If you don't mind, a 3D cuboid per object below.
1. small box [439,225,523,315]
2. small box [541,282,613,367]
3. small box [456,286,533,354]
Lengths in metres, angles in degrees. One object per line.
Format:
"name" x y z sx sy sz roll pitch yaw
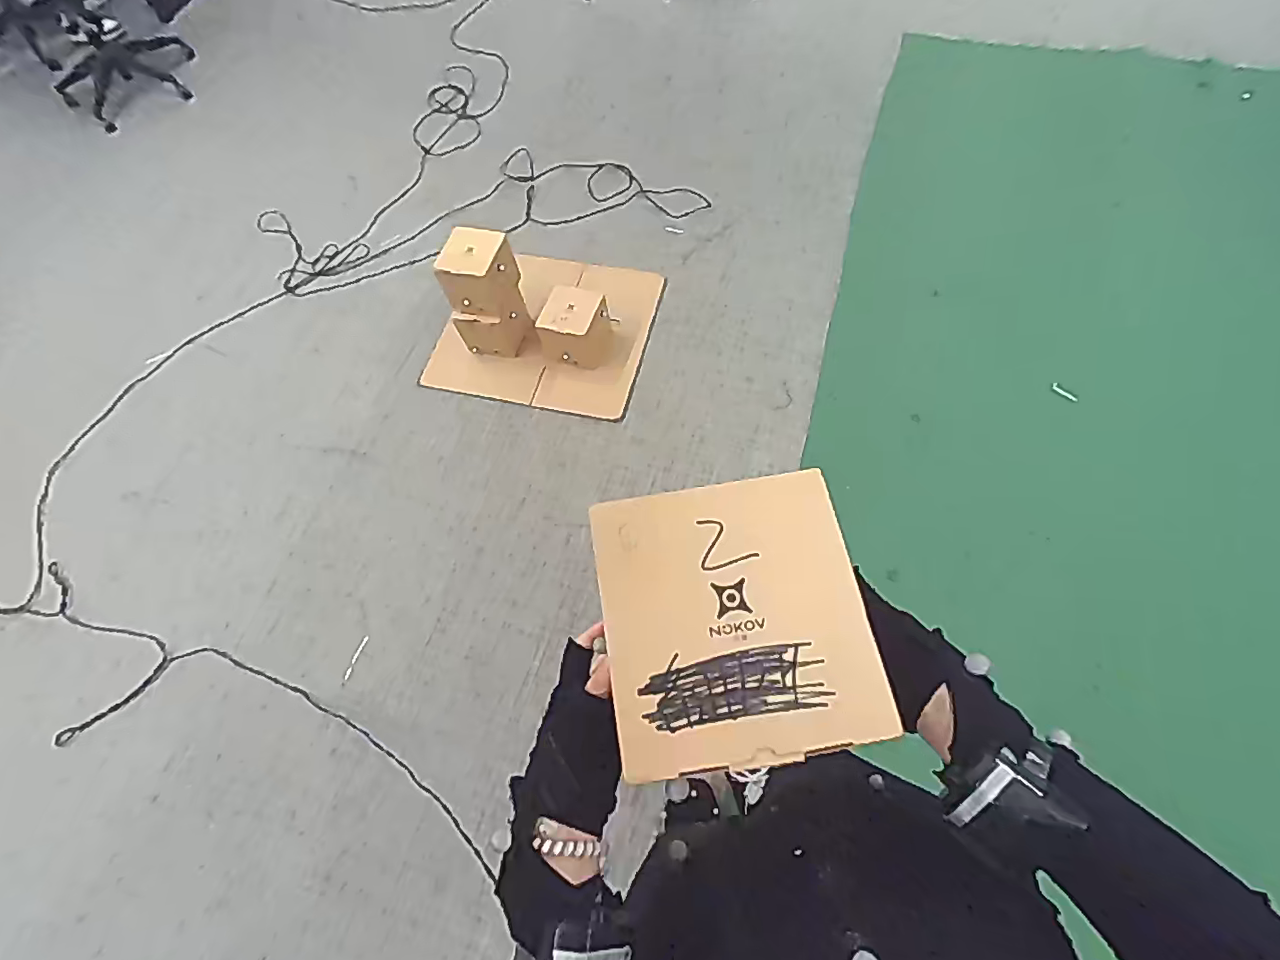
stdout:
"small box" -0.465 -0.625 1.617 0.168 0.176 0.179 12 67 10
"small box" -0.191 -0.490 1.712 0.168 0.176 0.179 15 68 13
"small box" -0.463 -0.532 1.755 0.168 0.176 0.179 10 66 10
